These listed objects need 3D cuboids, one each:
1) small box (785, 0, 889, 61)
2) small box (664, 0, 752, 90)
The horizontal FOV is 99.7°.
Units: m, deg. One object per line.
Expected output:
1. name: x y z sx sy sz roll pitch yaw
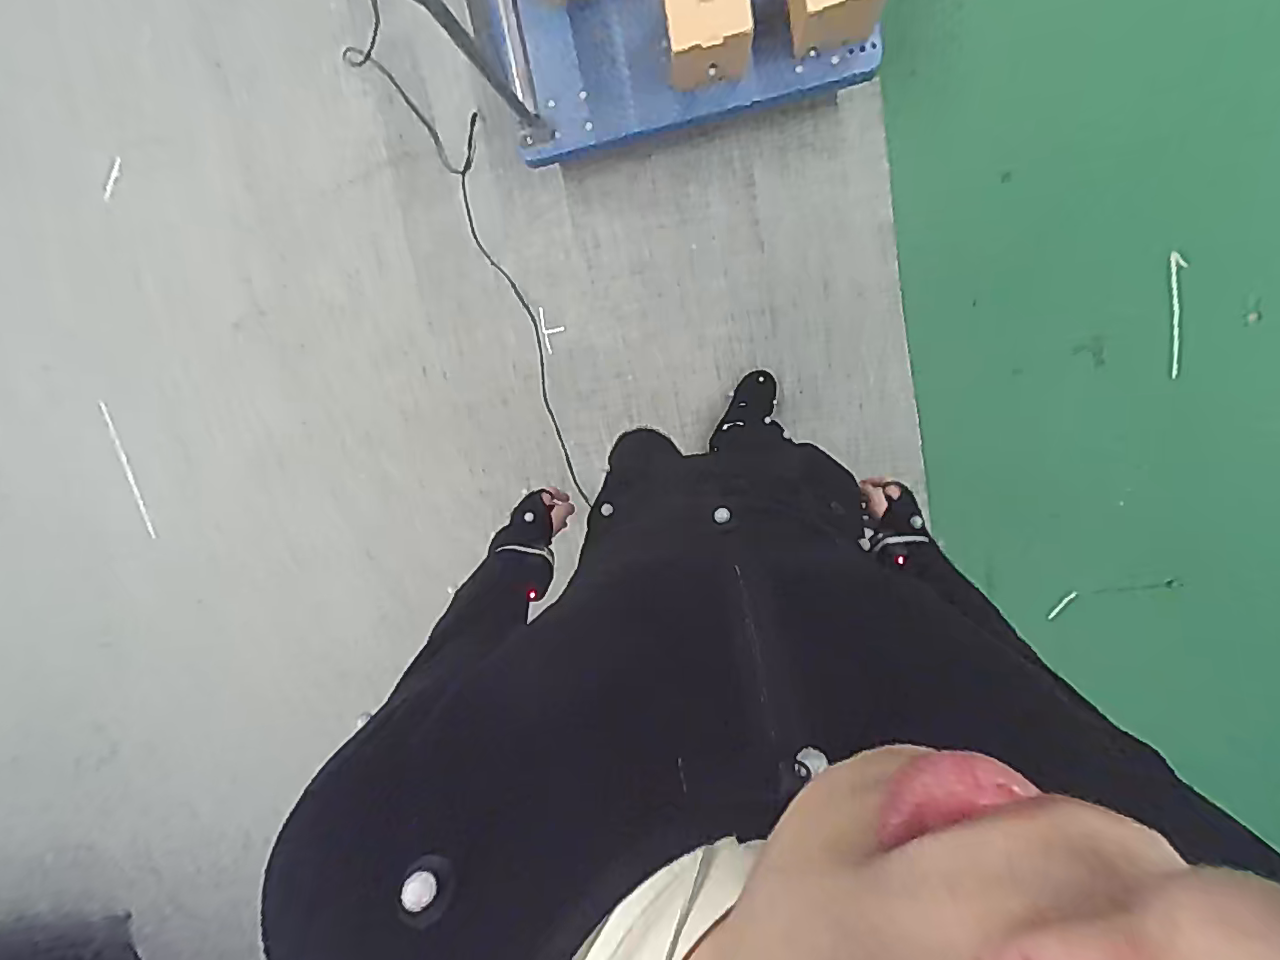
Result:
1. small box: 0.407 -1.028 1.138 0.168 0.176 0.179 -10 99 8
2. small box: 0.144 -0.977 1.162 0.168 0.176 0.179 -9 100 8
